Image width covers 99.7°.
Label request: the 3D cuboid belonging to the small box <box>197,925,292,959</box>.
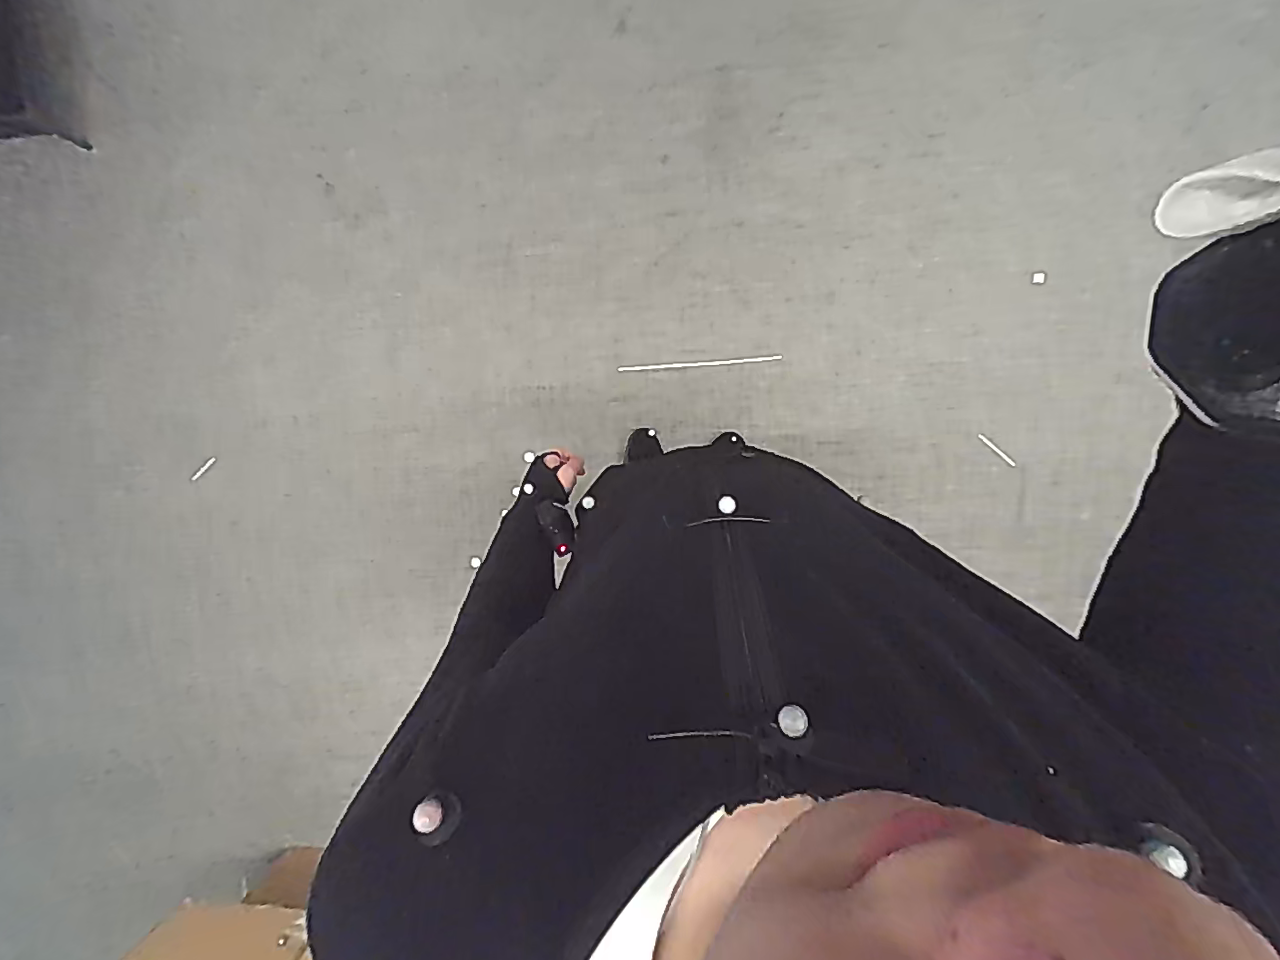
[{"bbox_3d":[-0.995,1.241,1.319,0.179,0.176,0.168,9,96,2],"label":"small box"}]
